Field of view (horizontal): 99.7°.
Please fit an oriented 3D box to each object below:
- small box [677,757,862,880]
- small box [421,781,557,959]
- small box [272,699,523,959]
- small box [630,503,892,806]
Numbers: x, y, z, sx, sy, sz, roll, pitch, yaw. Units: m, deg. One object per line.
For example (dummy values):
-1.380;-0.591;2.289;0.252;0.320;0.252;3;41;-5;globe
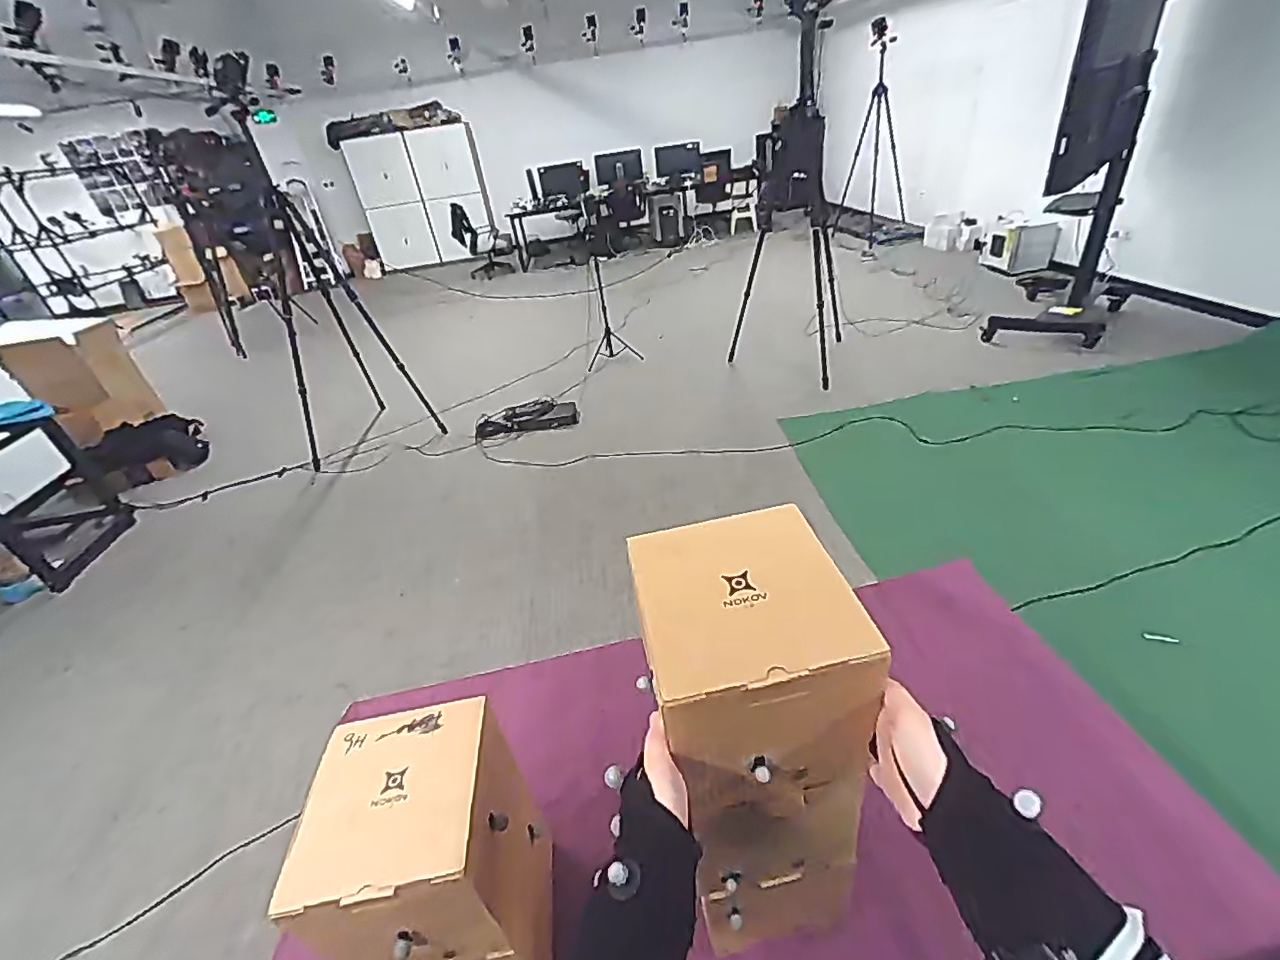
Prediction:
0.117;0.291;0.580;0.168;0.176;0.179;-12;31;-4;small box
-0.198;0.502;0.643;0.168;0.176;0.179;-12;33;-2;small box
-0.222;0.364;0.556;0.168;0.176;0.179;-11;33;-3;small box
0.091;0.150;0.483;0.168;0.176;0.179;-12;37;-4;small box
